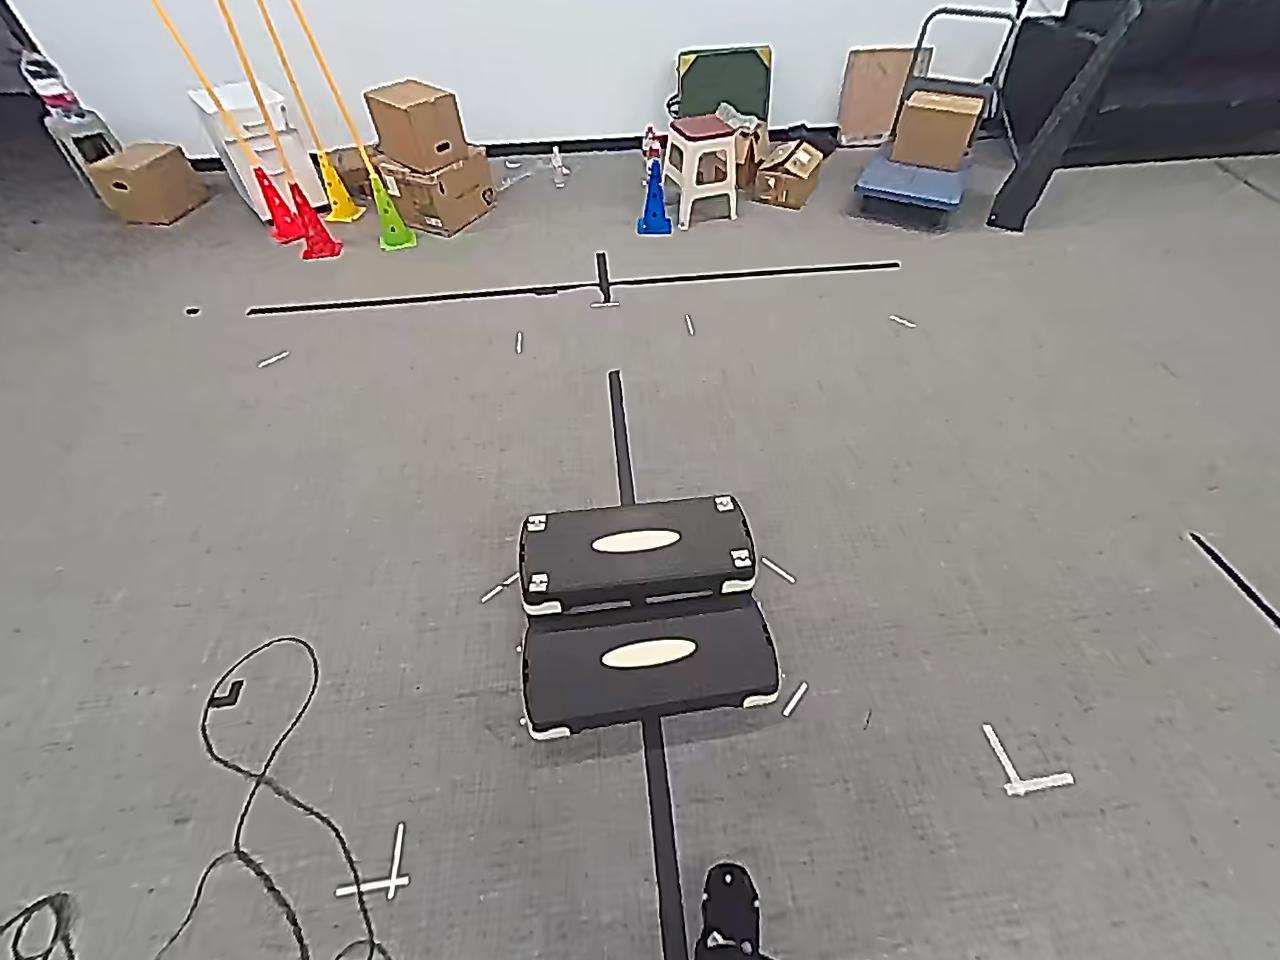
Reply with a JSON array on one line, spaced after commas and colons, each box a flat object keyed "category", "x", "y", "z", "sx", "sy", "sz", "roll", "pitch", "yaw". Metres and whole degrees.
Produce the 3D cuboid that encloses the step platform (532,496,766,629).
[{"category": "step platform", "x": 0.023, "y": 0.237, "z": 1.619, "sx": 0.684, "sy": 0.204, "sz": 0.286, "roll": -6, "pitch": 49, "yaw": -6}]
